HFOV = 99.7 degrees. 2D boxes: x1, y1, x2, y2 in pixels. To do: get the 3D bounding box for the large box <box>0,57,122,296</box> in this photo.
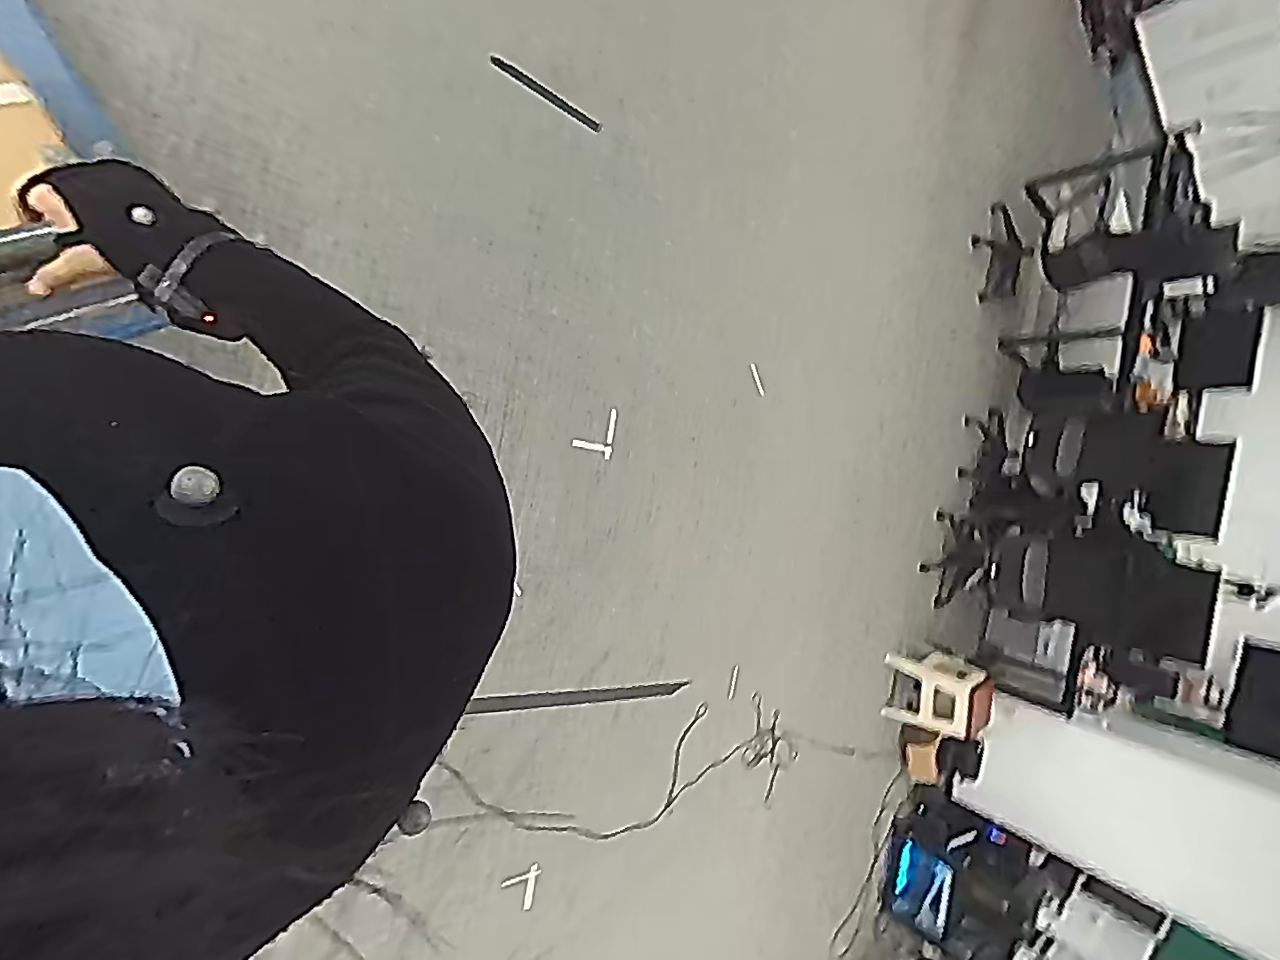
[{"bbox_3d":[-1.005,-0.400,0.684,0.408,0.320,0.320,-37,117,-32],"label":"large box"}]
